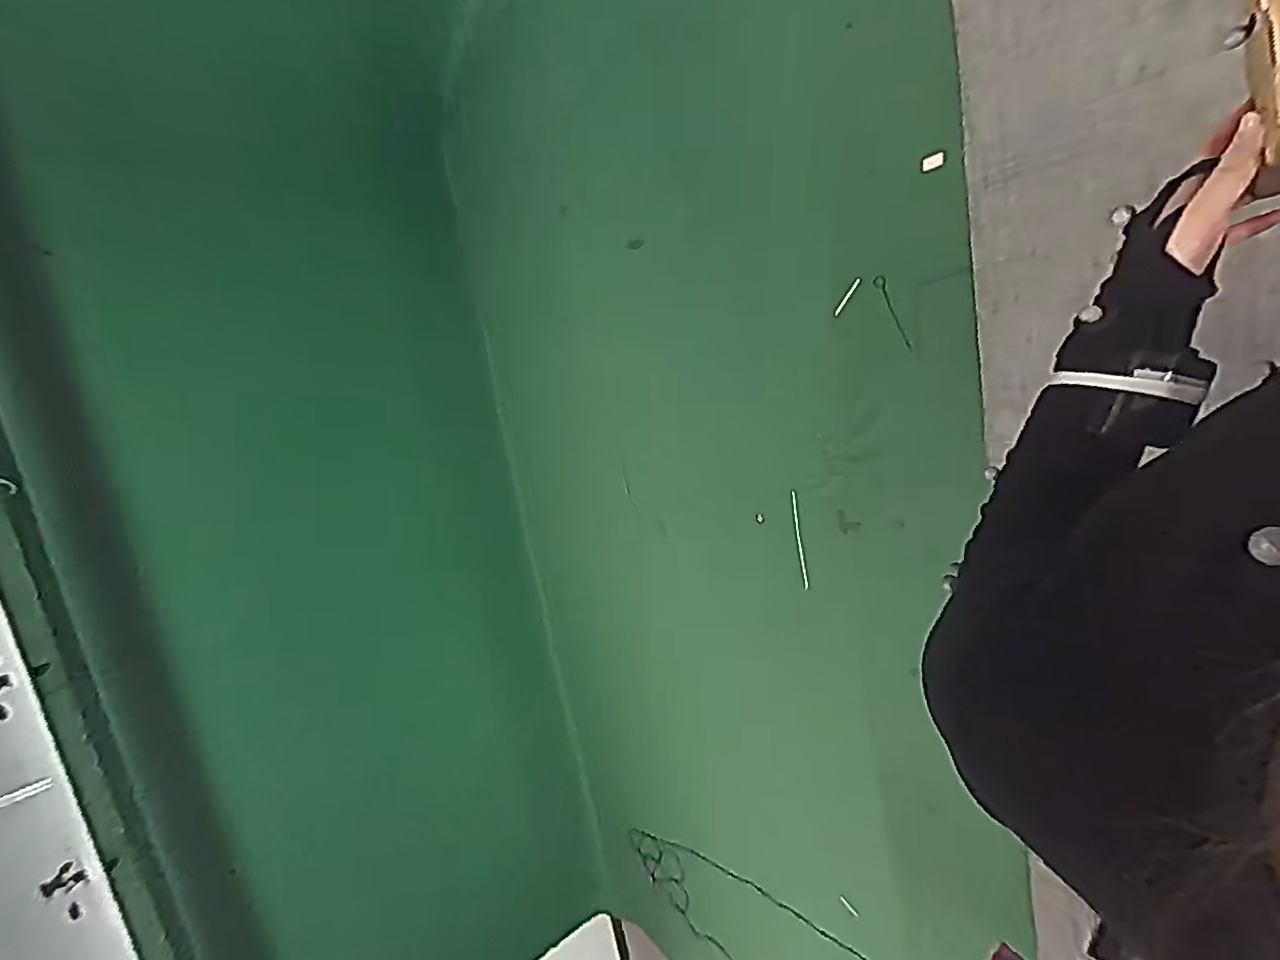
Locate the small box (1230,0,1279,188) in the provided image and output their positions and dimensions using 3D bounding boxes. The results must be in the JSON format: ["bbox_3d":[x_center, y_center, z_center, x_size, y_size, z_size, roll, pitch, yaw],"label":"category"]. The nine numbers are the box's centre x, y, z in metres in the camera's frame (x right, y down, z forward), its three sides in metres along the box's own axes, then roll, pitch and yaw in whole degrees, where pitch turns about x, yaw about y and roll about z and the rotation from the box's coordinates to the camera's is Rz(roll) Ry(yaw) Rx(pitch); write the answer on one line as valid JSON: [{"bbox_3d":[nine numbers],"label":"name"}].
[{"bbox_3d":[0.434,-0.282,0.274,0.179,0.176,0.168,-5,93,48],"label":"small box"}]
